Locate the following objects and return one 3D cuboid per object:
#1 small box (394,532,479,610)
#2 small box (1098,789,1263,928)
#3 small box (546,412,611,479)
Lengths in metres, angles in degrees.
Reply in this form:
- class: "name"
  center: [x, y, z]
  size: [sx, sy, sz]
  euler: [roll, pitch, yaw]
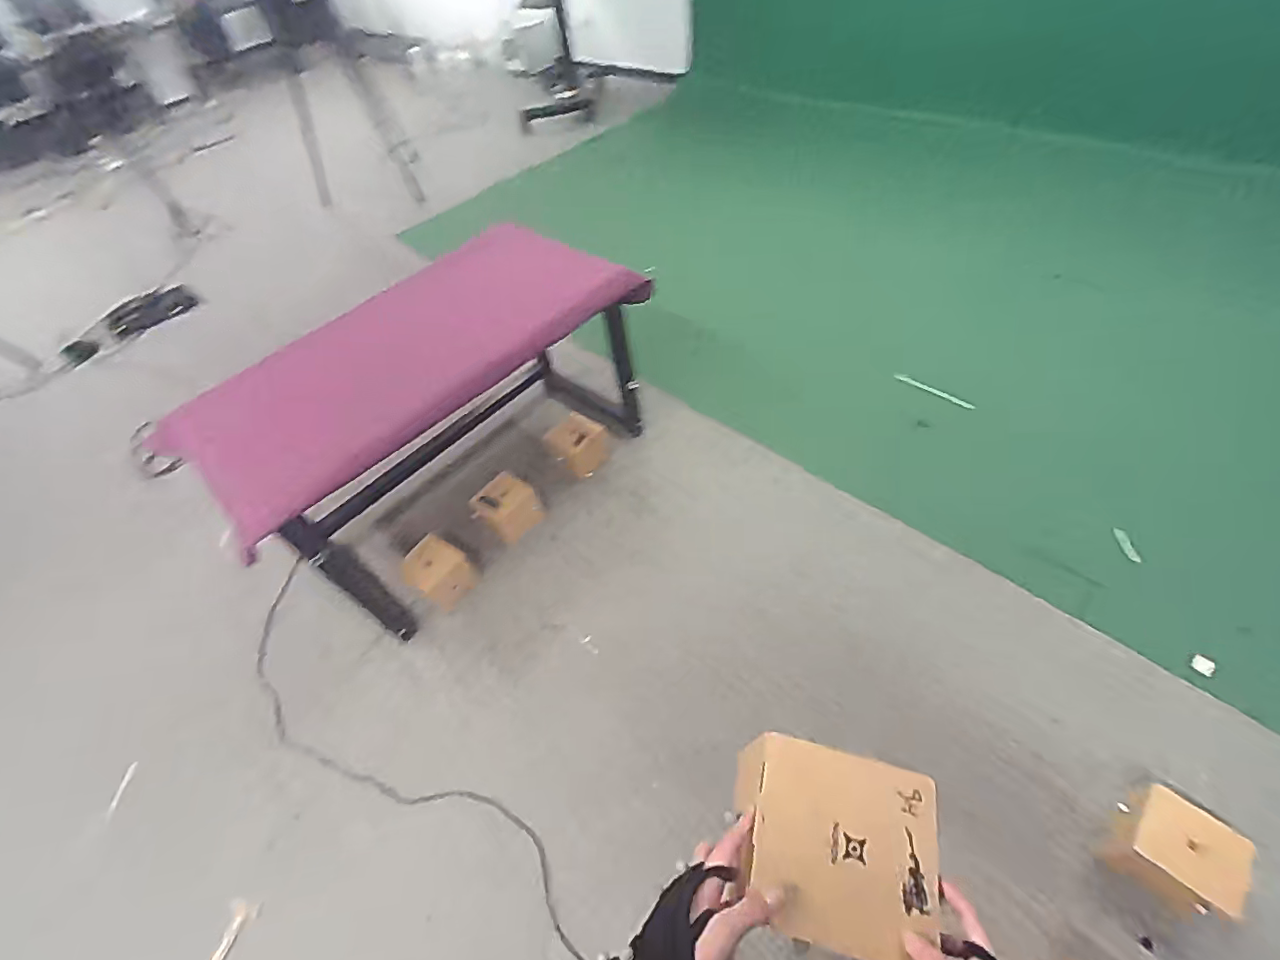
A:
- class: "small box"
  center: [-0.673, 0.312, 1.808]
  size: [0.179, 0.176, 0.168]
  euler: [25, 59, 26]
- class: "small box"
  center: [1.128, 0.801, 1.143]
  size: [0.179, 0.176, 0.168]
  euler: [34, 62, 29]
- class: "small box"
  center: [-0.232, -0.127, 2.098]
  size: [0.179, 0.176, 0.168]
  euler: [30, 61, 29]
